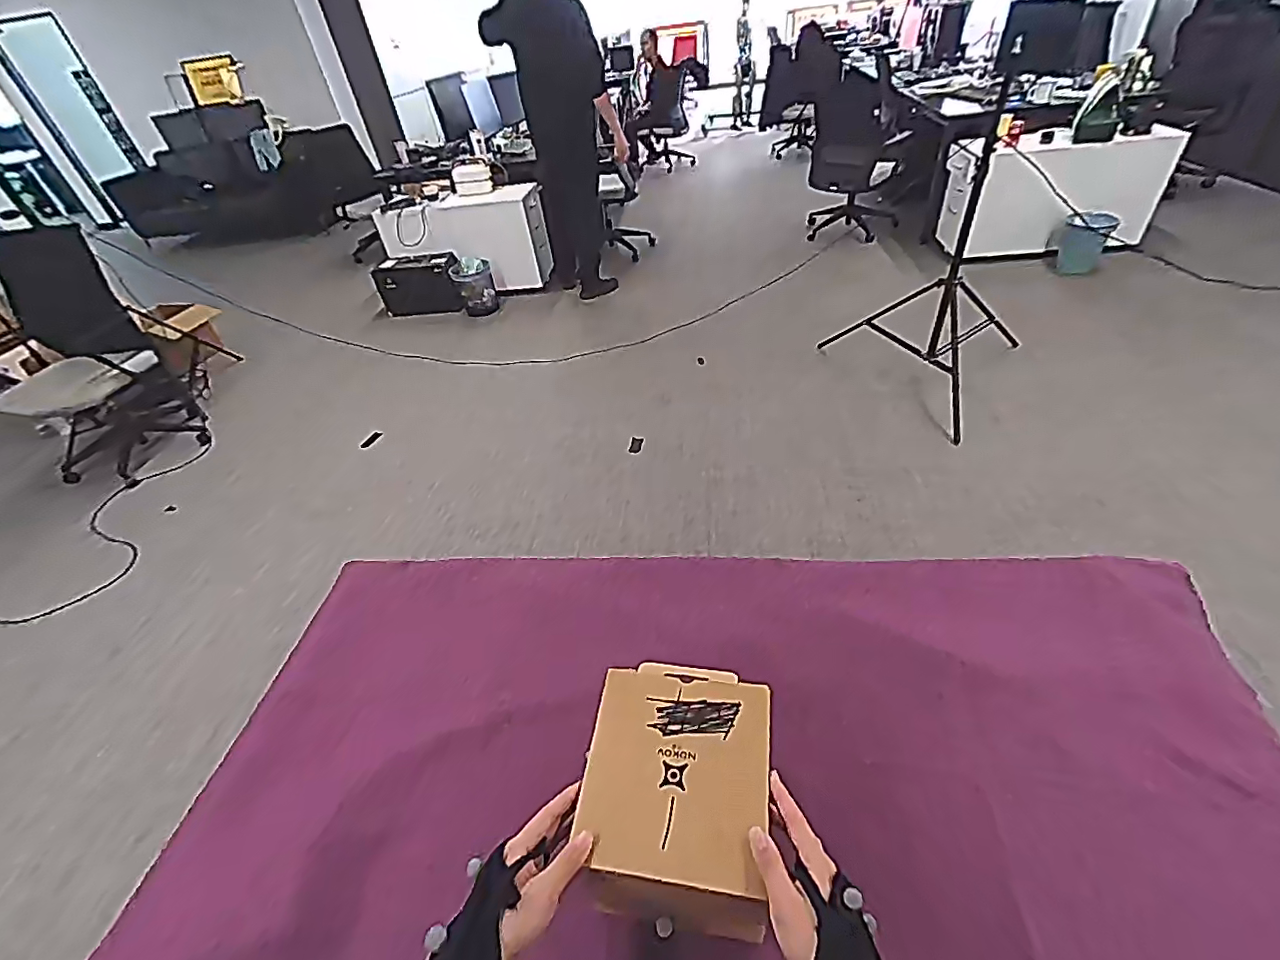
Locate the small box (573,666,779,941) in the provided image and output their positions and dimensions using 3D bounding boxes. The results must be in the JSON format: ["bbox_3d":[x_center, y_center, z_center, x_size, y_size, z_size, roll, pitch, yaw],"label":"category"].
[{"bbox_3d":[0.047,0.313,0.533,0.168,0.176,0.179,2,42,12],"label":"small box"}]
